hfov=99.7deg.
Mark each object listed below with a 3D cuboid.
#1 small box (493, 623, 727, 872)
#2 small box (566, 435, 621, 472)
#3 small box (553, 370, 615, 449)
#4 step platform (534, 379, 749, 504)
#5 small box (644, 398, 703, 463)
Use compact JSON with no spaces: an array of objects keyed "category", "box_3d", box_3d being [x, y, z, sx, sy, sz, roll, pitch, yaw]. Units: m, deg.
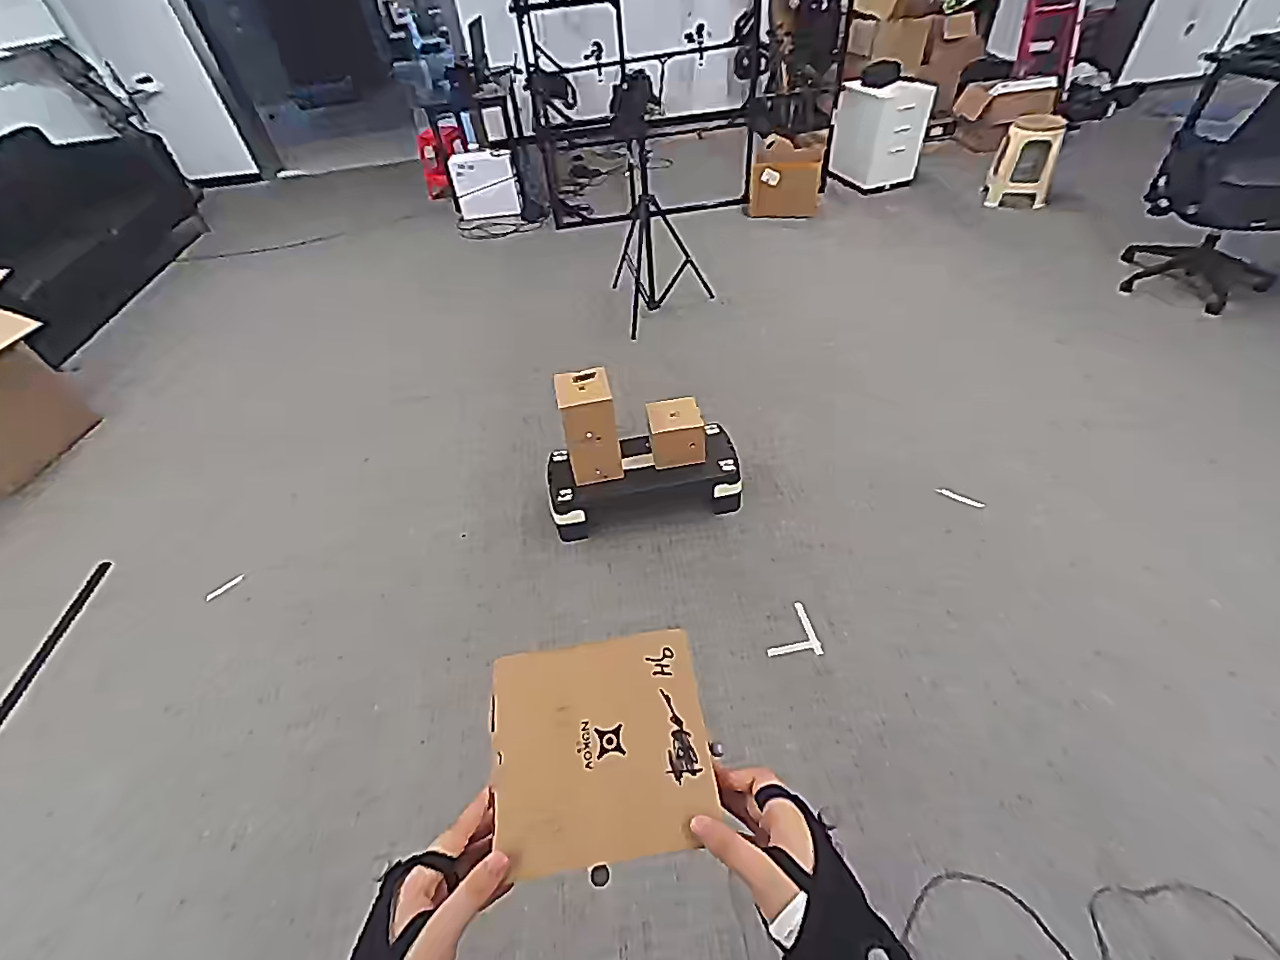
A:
[{"category":"small box","box_3d":[-0.027,0.253,0.502,0.179,0.176,0.168,-9,55,-3]},{"category":"small box","box_3d":[-0.161,-0.108,1.842,0.168,0.176,0.179,-11,45,-4]},{"category":"small box","box_3d":[-0.177,-0.226,1.728,0.168,0.176,0.179,-11,46,-5]},{"category":"step platform","box_3d":[0.005,-0.128,1.793,0.684,0.204,0.286,-10,45,-4]},{"category":"small box","box_3d":[0.114,-0.157,1.860,0.179,0.176,0.168,-10,45,-3]}]
